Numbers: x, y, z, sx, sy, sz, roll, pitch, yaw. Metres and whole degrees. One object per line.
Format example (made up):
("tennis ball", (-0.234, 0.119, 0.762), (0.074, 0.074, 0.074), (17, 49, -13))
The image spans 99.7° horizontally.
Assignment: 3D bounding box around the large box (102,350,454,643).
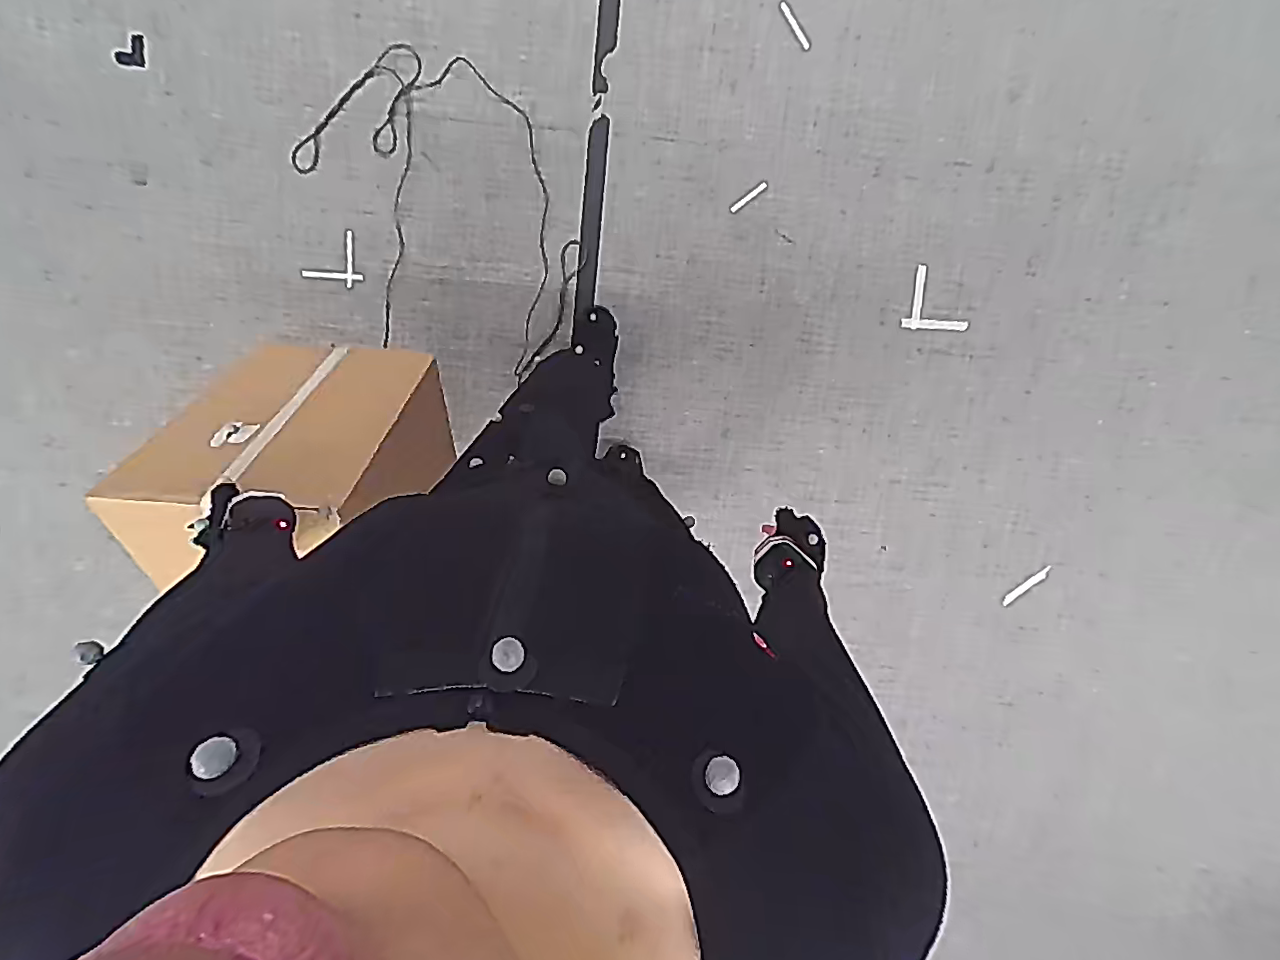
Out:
("large box", (-0.539, 0.017, 0.930), (0.320, 0.408, 0.320), (2, 131, -2))
